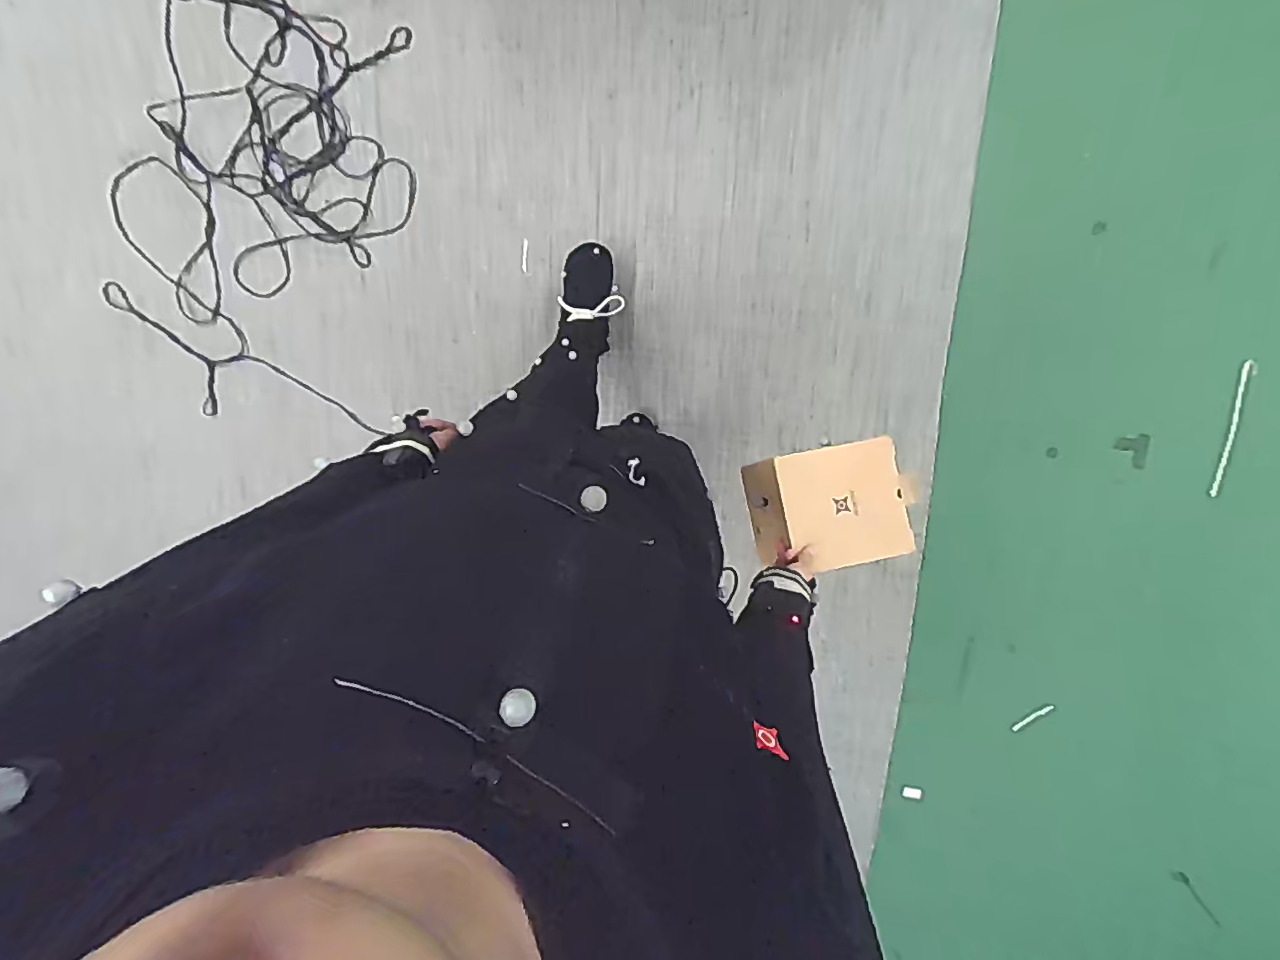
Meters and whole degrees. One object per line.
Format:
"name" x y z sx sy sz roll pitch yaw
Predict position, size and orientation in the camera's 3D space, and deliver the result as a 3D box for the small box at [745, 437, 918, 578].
"small box" 0.267 0.044 0.802 0.179 0.176 0.168 -12 86 -7
